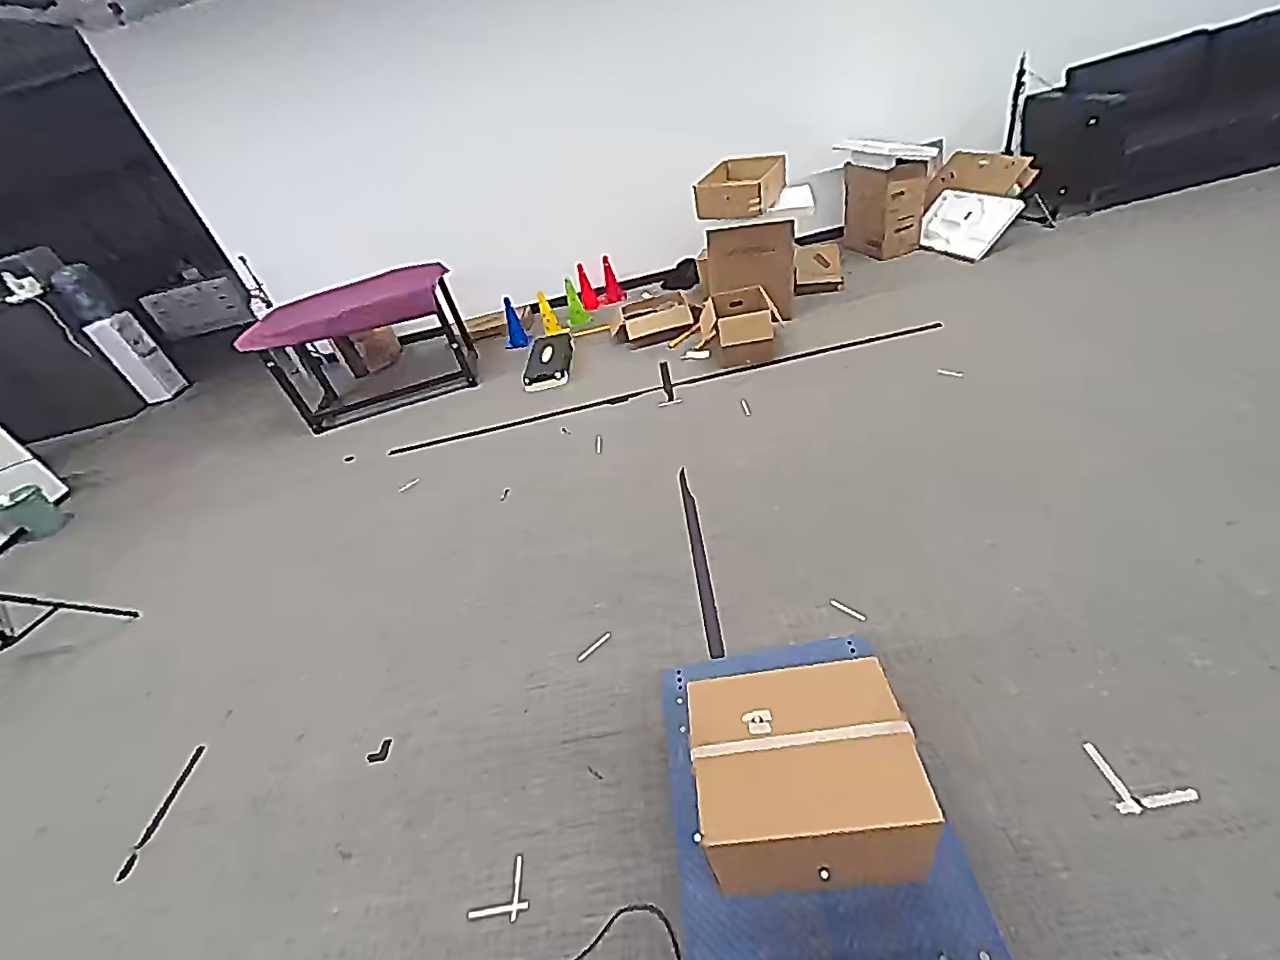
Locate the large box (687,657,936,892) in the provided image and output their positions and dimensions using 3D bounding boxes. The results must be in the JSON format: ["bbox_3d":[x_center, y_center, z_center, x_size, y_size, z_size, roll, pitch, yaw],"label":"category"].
[{"bbox_3d":[0.334,0.617,1.130,0.408,0.320,0.320,-11,36,7],"label":"large box"}]
